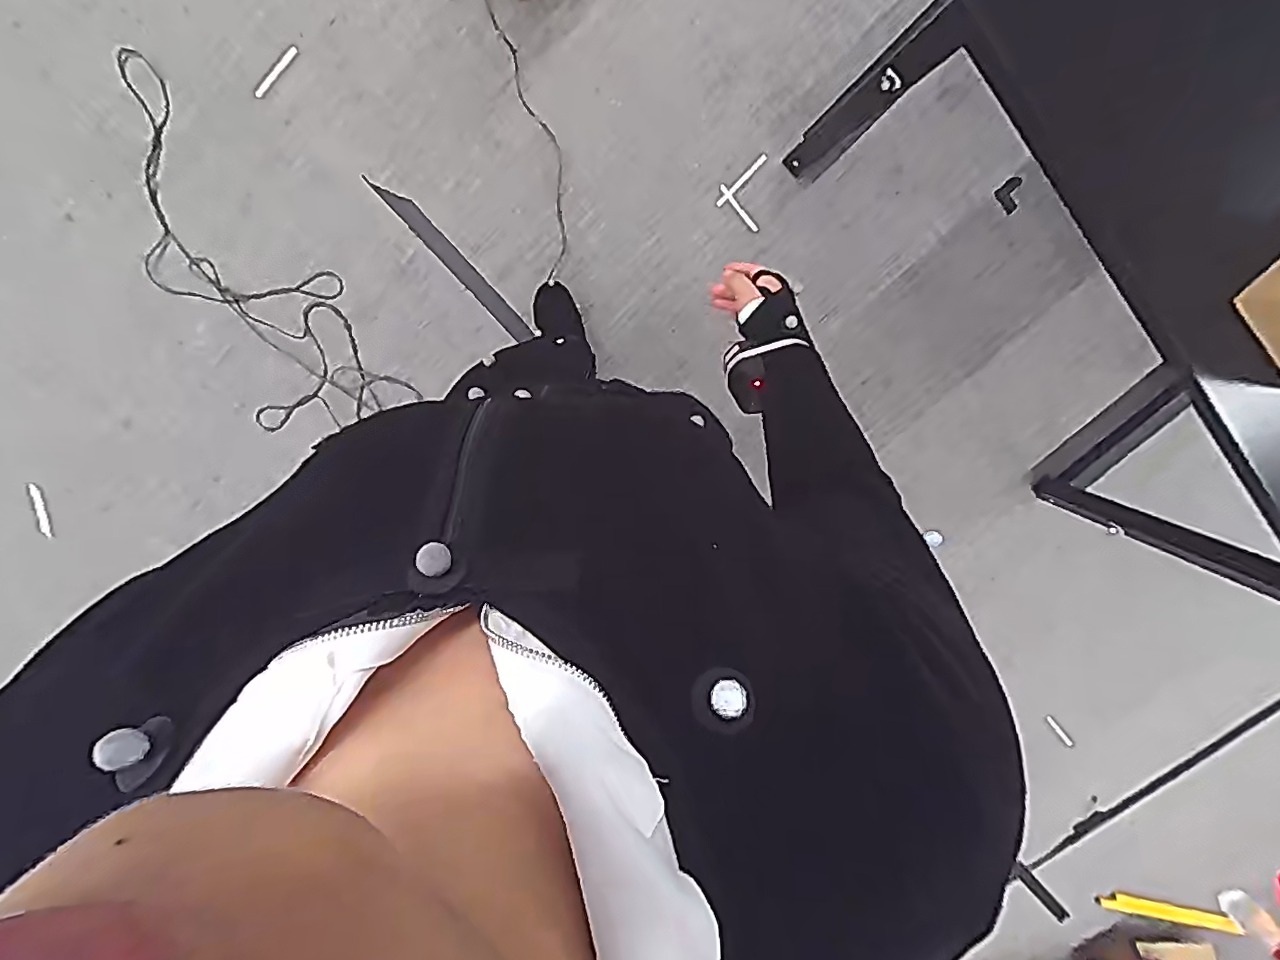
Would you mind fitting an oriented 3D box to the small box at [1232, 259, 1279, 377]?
[{"bbox_3d":[0.883,-0.215,0.635,0.179,0.176,0.168,41,100,-12],"label":"small box"}]
